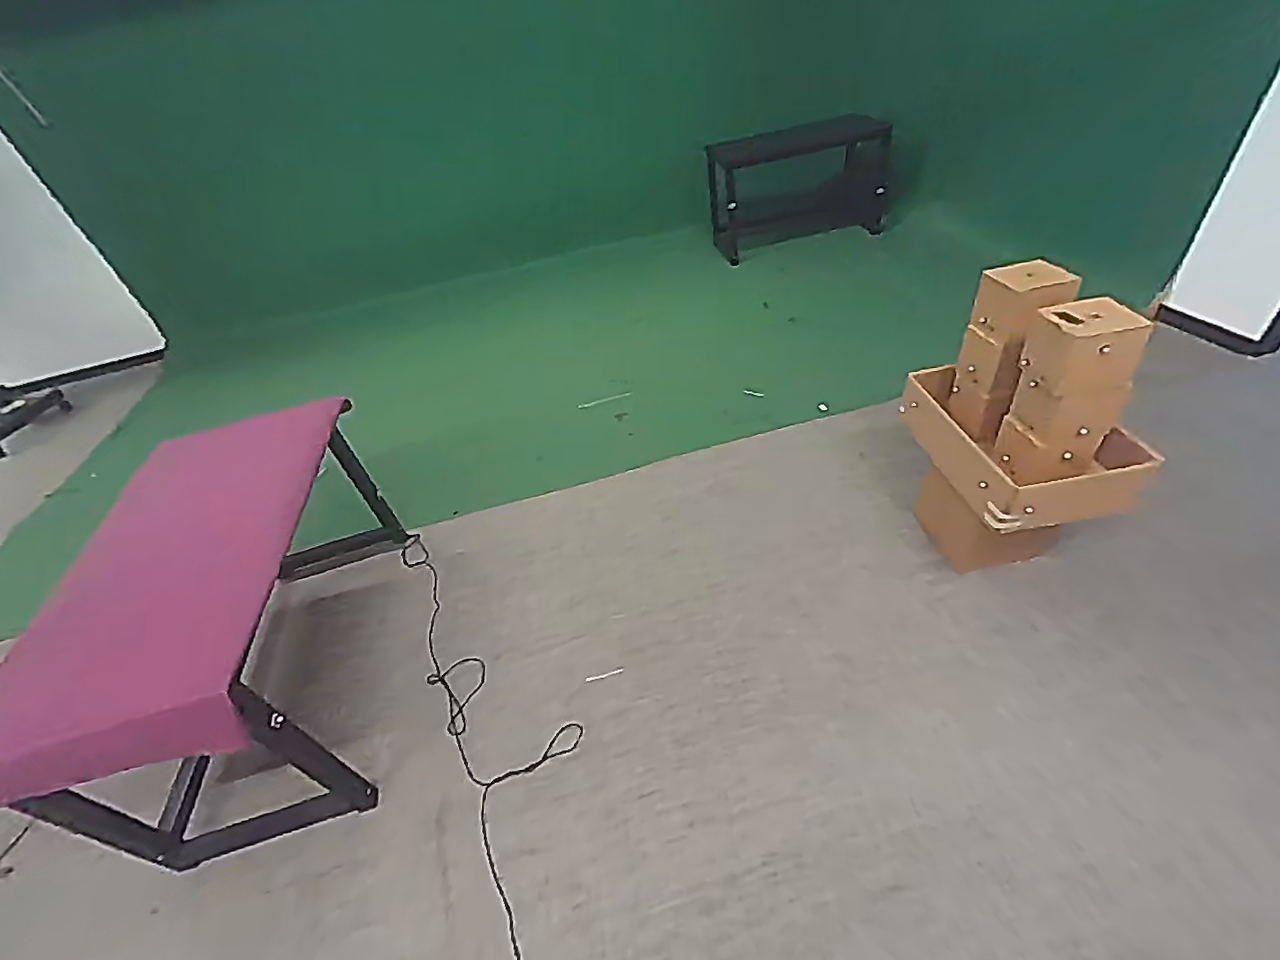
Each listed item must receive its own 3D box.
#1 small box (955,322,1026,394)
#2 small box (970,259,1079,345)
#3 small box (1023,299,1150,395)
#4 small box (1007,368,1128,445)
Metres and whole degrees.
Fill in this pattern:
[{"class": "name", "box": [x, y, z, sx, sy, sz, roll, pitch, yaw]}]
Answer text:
[{"class": "small box", "box": [1.118, -0.391, 1.676, 0.179, 0.176, 0.168, -13, 42, -2]}, {"class": "small box", "box": [1.104, -0.515, 1.571, 0.179, 0.176, 0.168, -11, 41, -1]}, {"class": "small box", "box": [1.113, -0.334, 1.374, 0.179, 0.176, 0.168, -9, 42, 4]}, {"class": "small box", "box": [1.157, -0.217, 1.483, 0.179, 0.176, 0.168, -10, 41, 2]}]
